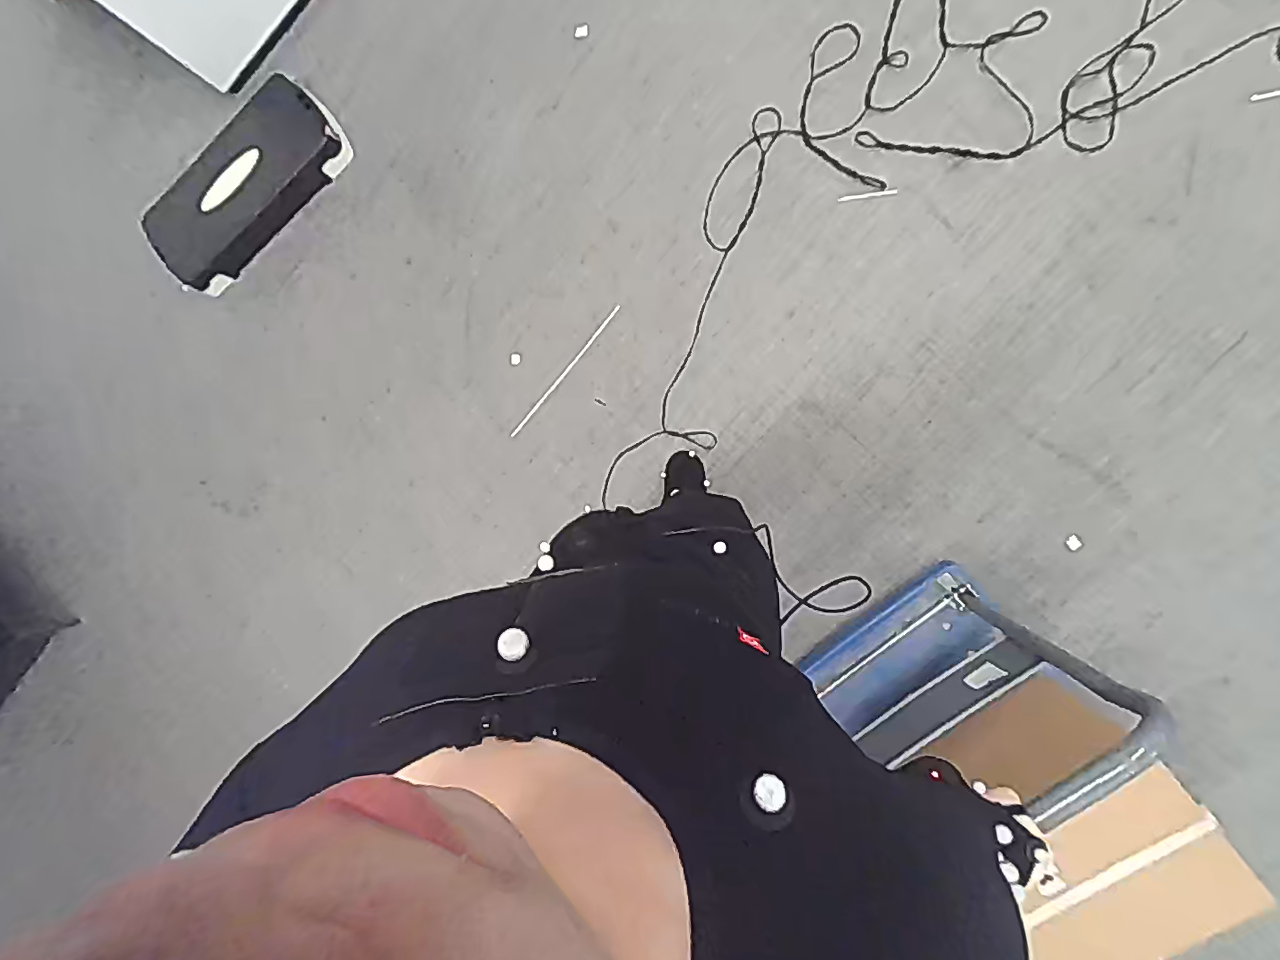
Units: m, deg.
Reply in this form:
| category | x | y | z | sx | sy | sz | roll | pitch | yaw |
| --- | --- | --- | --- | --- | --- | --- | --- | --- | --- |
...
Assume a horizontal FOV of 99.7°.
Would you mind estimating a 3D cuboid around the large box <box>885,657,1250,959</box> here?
| category | x | y | z | sx | sy | sz | roll | pitch | yaw |
| --- | --- | --- | --- | --- | --- | --- | --- | --- | --- |
| large box | 0.782 | 0.631 | 1.070 | 0.408 | 0.320 | 0.320 | -39 | 84 | 10 |
